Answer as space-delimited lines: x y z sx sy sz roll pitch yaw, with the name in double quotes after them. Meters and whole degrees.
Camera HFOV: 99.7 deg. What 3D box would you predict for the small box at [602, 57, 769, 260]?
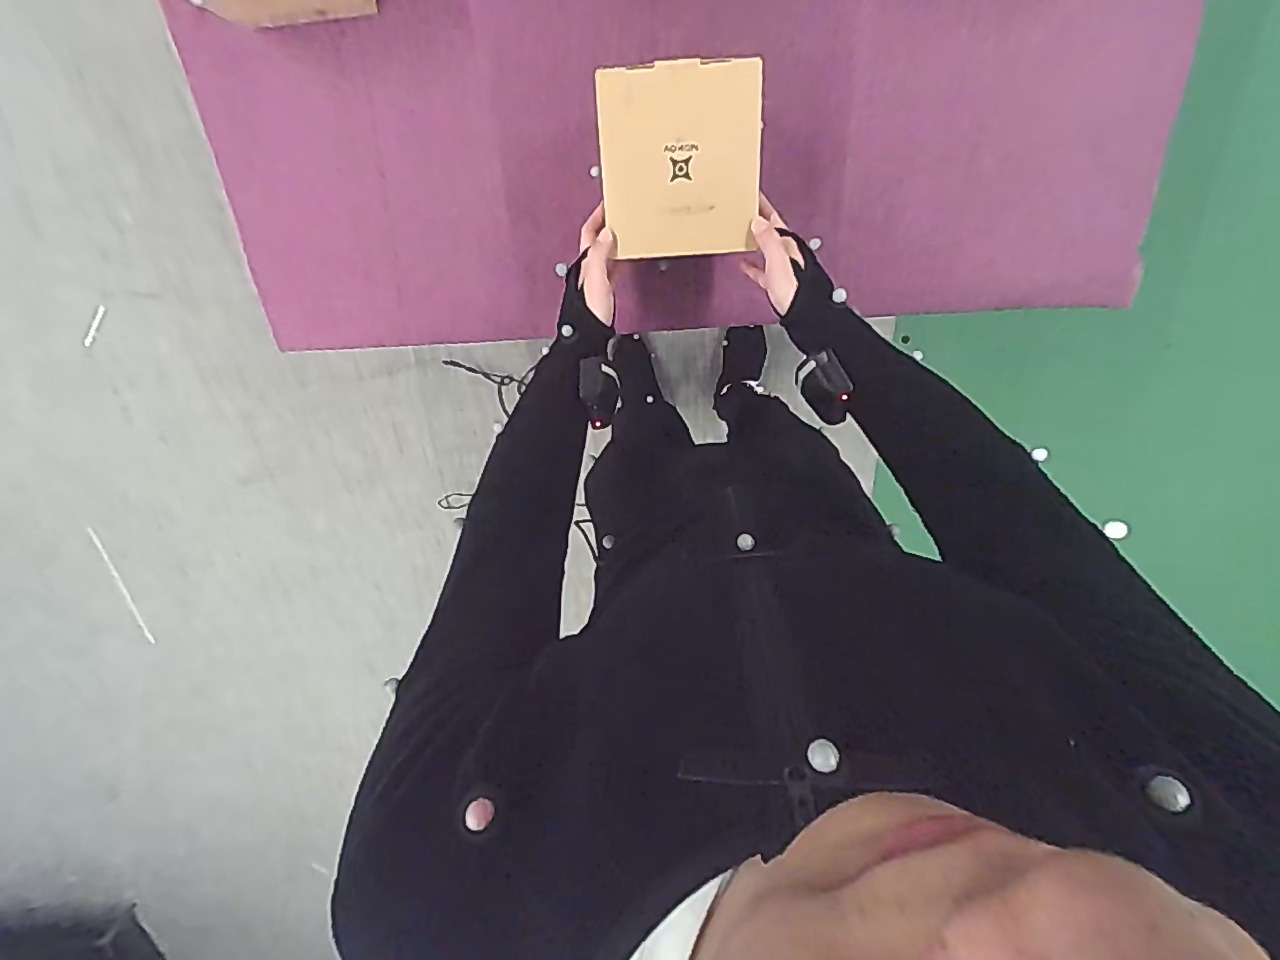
0.046 -0.351 0.623 0.168 0.176 0.179 -2 113 2 "small box"
